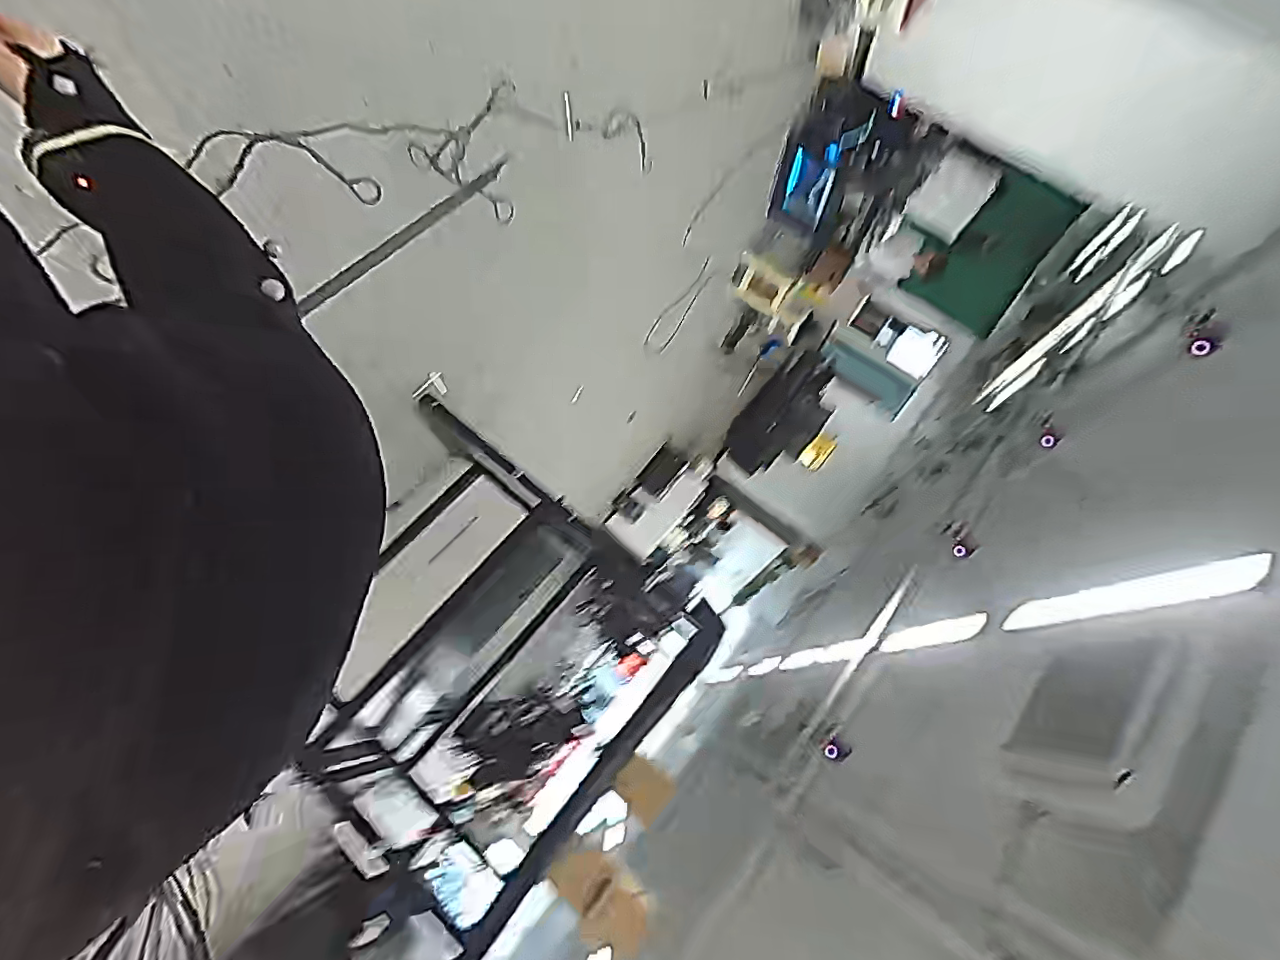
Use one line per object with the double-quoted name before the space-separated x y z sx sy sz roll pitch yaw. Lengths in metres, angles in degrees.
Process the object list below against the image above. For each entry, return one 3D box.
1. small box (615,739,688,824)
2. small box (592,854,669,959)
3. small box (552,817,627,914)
"small box" 0.032 0.974 1.765 0.168 0.176 0.179 -49 169 -18
"small box" -0.031 1.274 1.618 0.168 0.176 0.179 -48 168 -15
"small box" -0.158 1.190 1.682 0.168 0.176 0.179 -48 168 -21
